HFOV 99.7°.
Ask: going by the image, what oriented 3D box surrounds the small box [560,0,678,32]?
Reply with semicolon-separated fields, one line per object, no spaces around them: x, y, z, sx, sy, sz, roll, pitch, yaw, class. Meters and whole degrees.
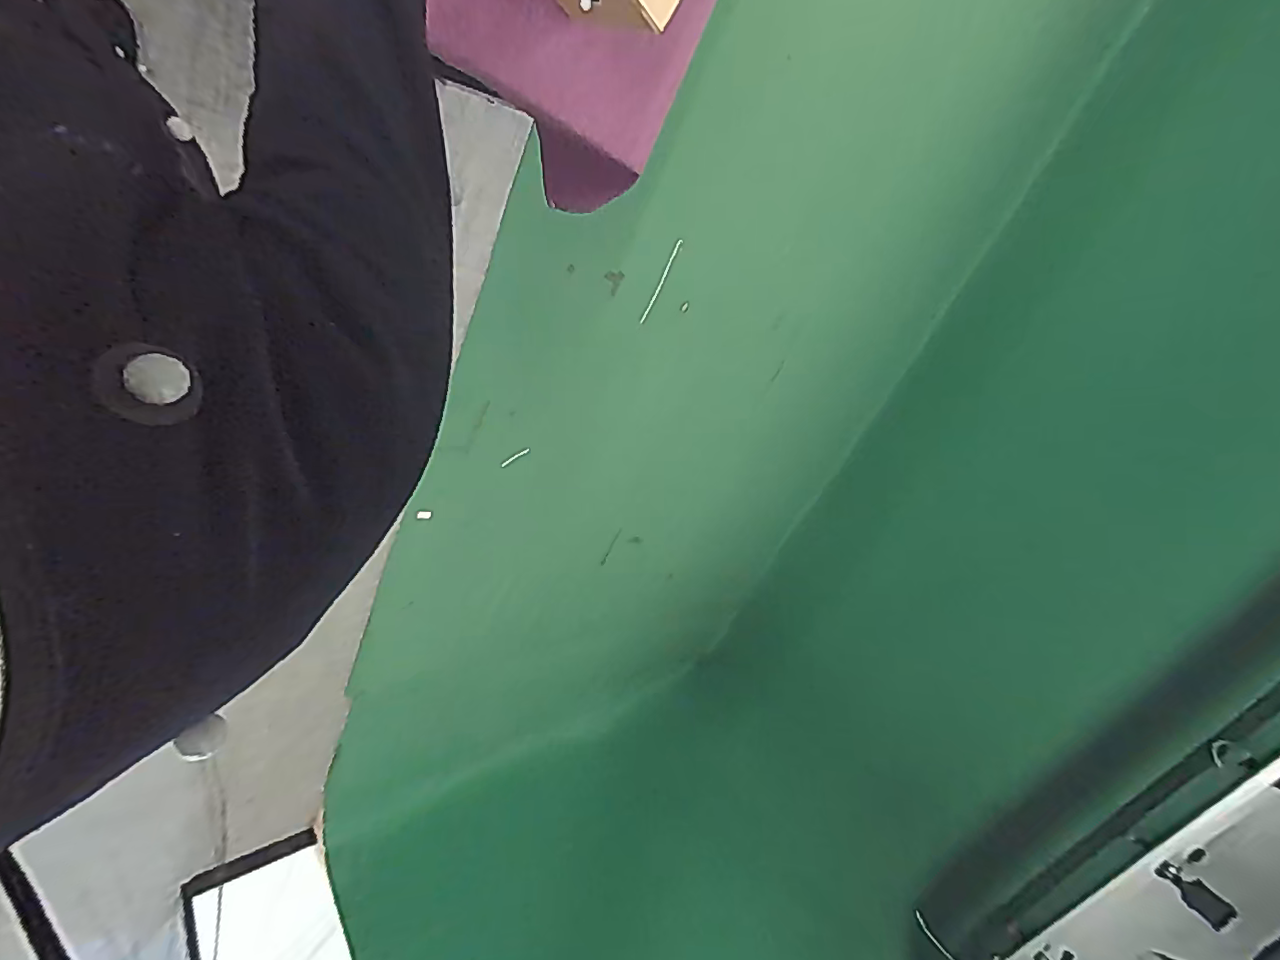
-0.031;-0.587;0.521;0.168;0.176;0.179;16;112;-53;small box
